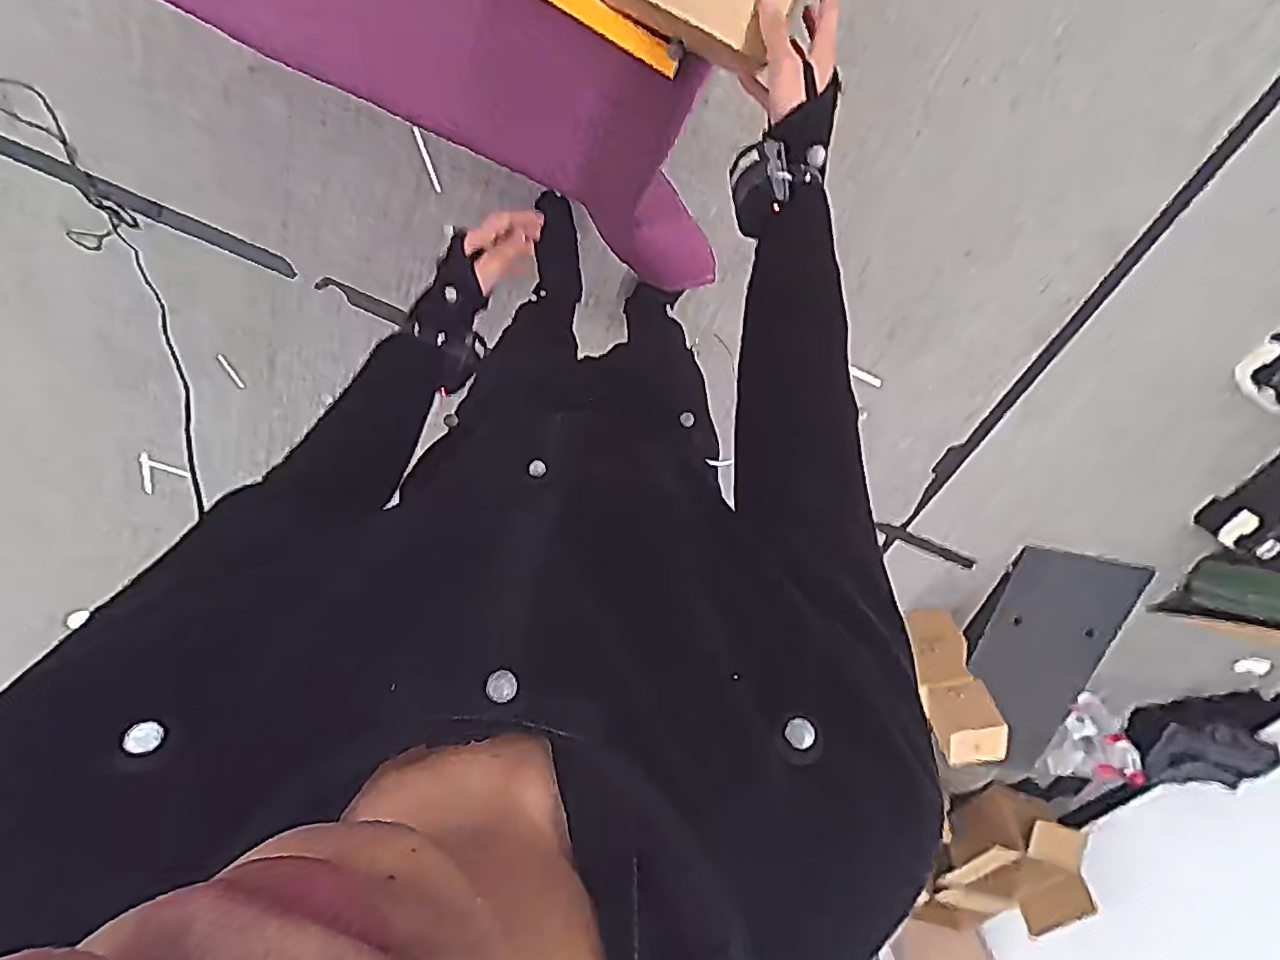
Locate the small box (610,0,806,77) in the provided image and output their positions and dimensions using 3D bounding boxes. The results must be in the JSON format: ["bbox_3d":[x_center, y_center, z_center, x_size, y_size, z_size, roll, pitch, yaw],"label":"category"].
[{"bbox_3d":[0.074,-0.502,0.495,0.179,0.176,0.168,21,121,-11],"label":"small box"}]
